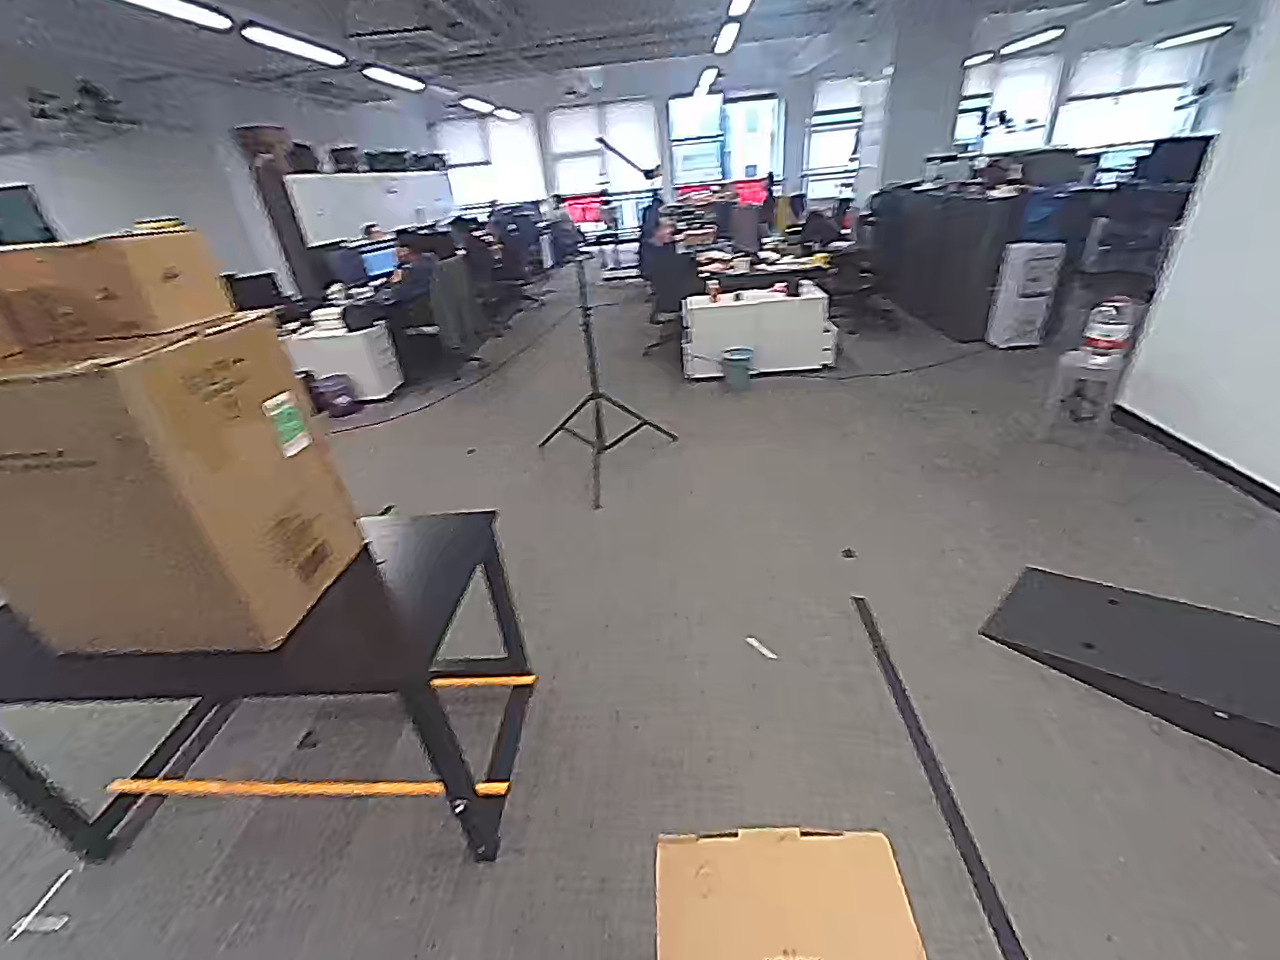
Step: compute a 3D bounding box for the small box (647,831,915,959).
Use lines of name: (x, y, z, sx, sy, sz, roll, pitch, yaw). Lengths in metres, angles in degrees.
small box: (0.088, 0.367, 0.366, 0.168, 0.176, 0.179, -2, 39, 1)

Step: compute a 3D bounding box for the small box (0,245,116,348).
small box: (-1.226, -0.362, 1.074, 0.179, 0.176, 0.168, -2, 29, 5)
